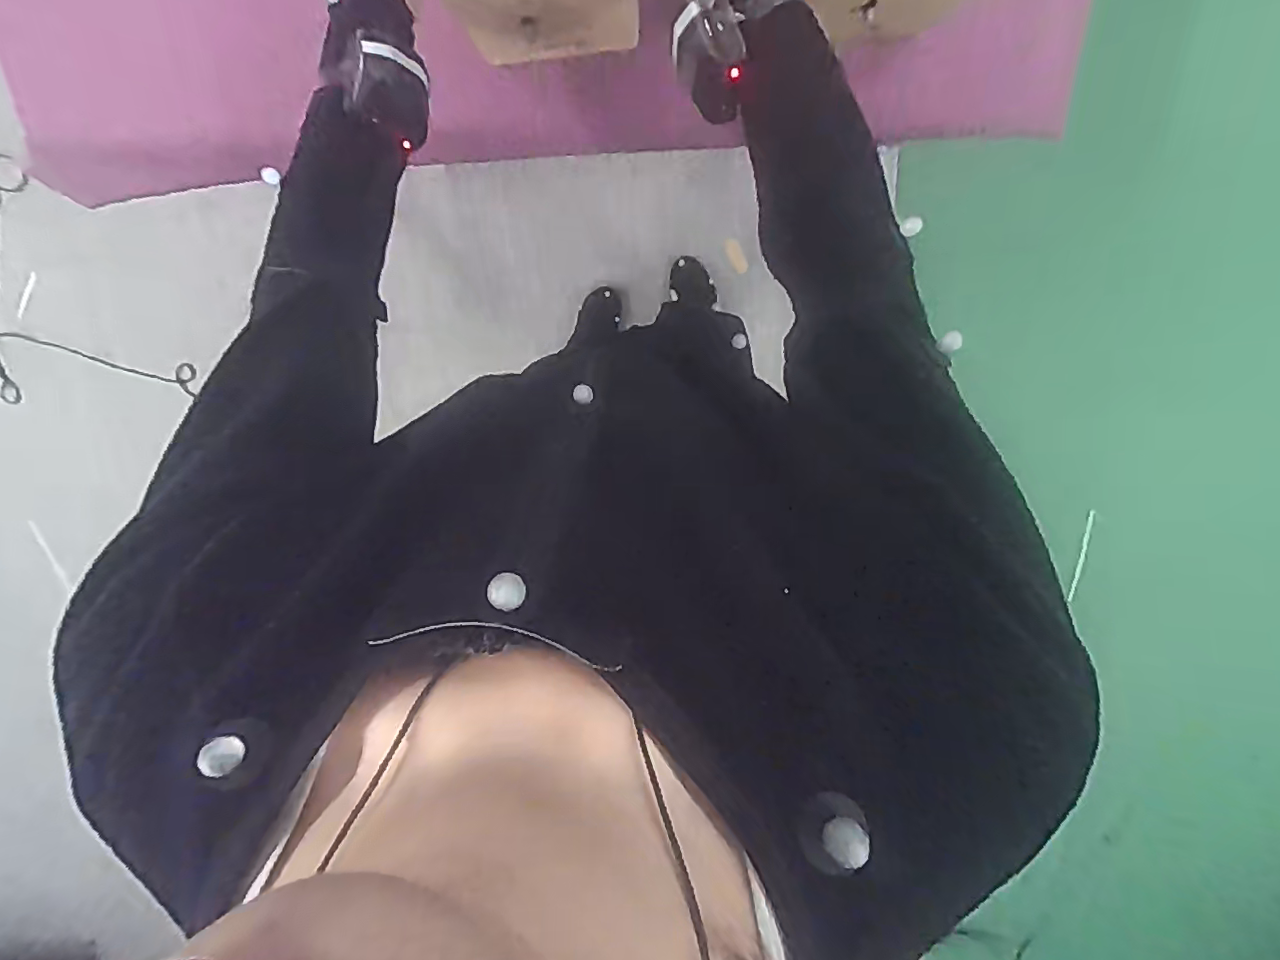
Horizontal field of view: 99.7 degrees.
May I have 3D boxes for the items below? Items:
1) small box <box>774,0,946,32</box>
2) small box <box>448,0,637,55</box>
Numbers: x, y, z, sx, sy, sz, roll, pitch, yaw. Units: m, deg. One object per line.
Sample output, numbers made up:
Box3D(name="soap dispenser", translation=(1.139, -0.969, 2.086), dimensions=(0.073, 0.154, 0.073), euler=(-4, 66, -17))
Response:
Box3D(name="small box", translation=(0.222, -0.538, 0.488), dimensions=(0.168, 0.176, 0.179), euler=(-2, 110, 1))
Box3D(name="small box", translation=(-0.092, -0.524, 0.497), dimensions=(0.168, 0.176, 0.179), euler=(-5, 109, 2))
